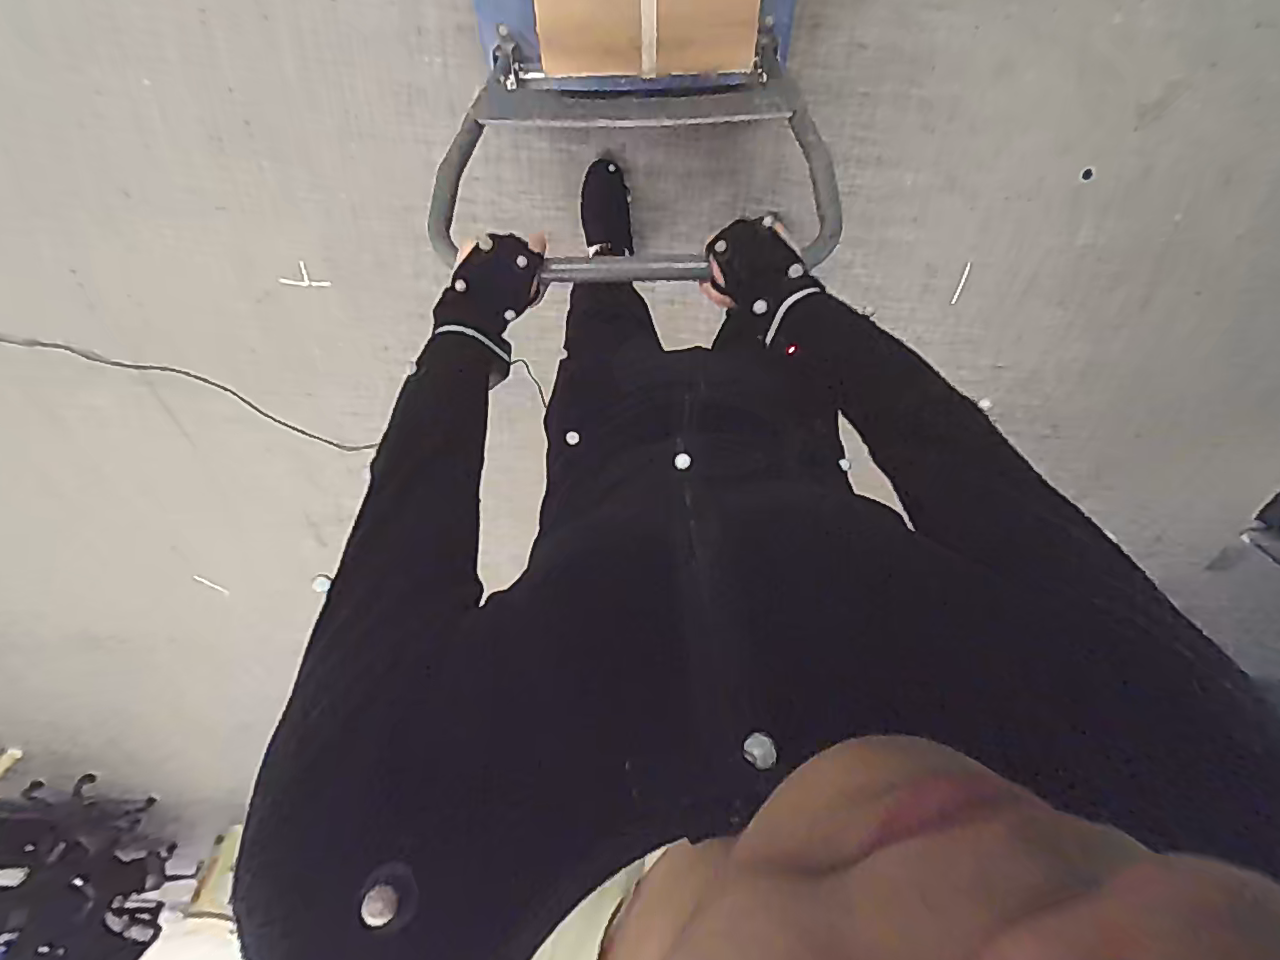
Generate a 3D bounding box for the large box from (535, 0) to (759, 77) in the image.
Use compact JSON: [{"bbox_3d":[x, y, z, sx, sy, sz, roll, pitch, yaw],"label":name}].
[{"bbox_3d":[0.006,-0.849,0.758,0.320,0.320,0.408,-1,138,1],"label":"large box"}]
